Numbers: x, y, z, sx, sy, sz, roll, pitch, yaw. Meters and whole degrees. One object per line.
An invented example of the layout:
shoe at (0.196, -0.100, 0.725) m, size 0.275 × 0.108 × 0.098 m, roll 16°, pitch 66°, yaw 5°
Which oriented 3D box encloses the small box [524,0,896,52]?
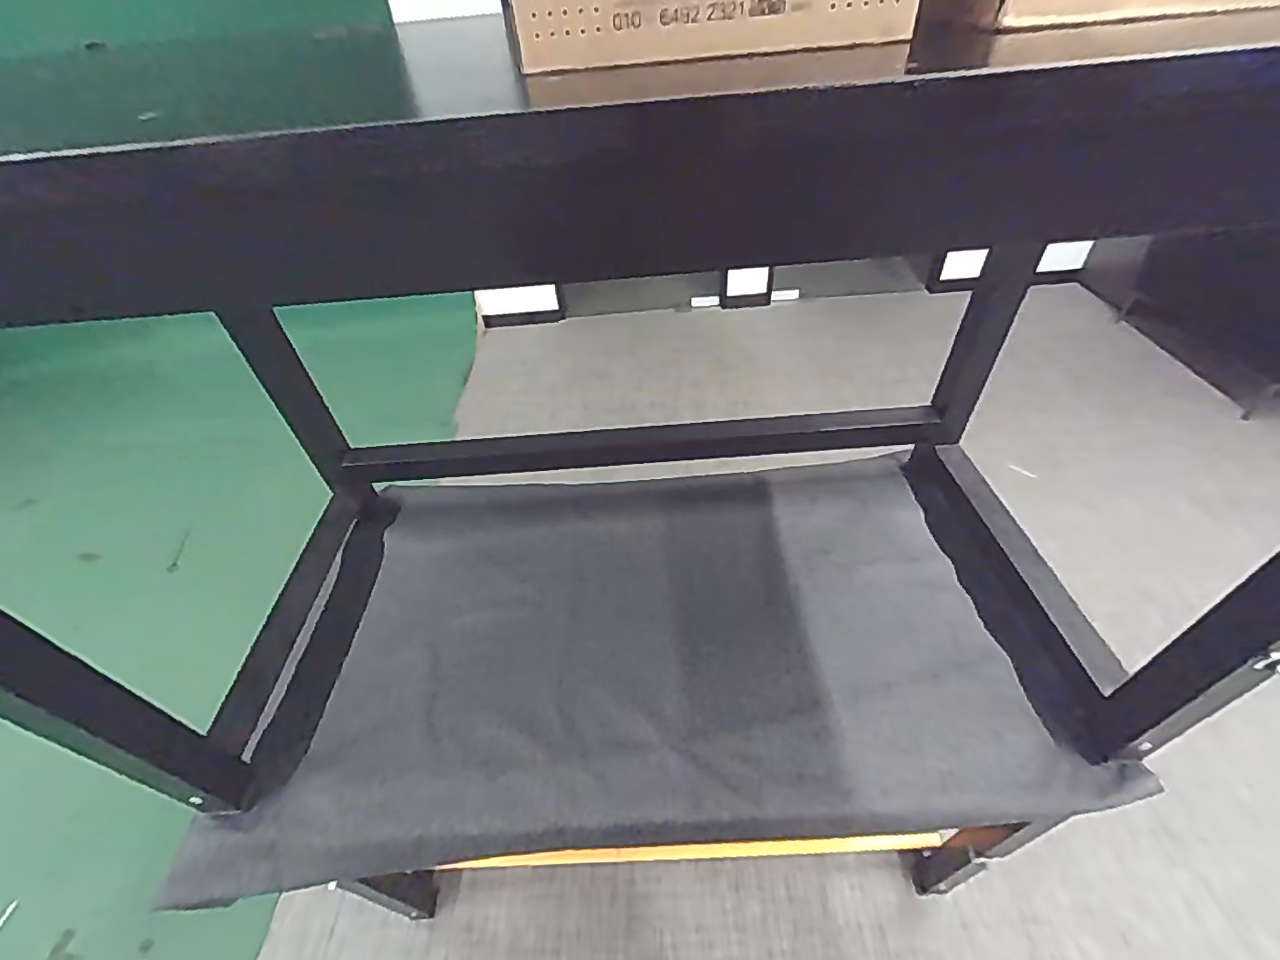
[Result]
small box at (0.026, -0.305, 0.240) m, size 0.168 × 0.176 × 0.179 m, roll -2°, pitch 43°, yaw 4°
